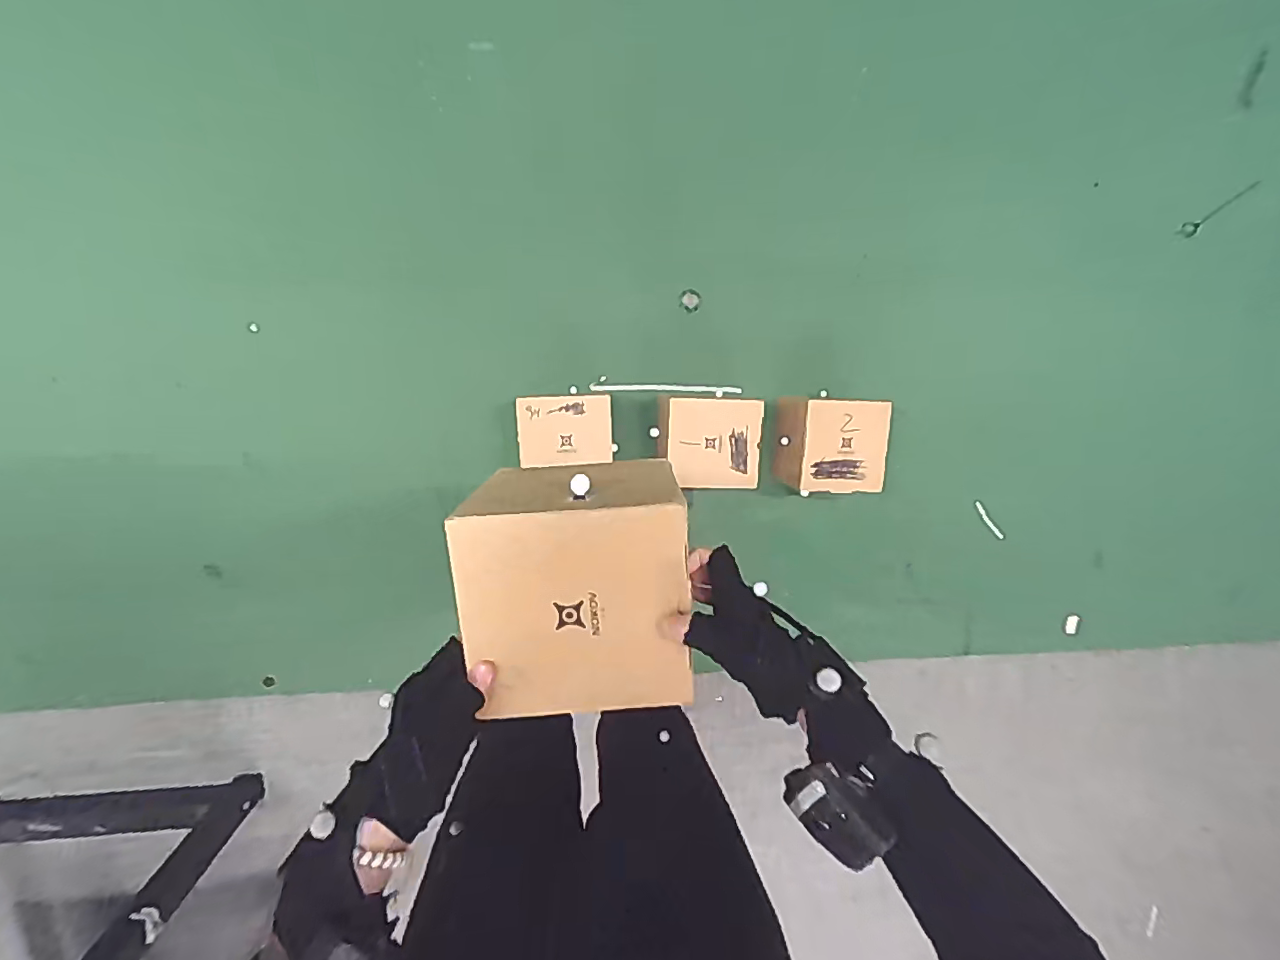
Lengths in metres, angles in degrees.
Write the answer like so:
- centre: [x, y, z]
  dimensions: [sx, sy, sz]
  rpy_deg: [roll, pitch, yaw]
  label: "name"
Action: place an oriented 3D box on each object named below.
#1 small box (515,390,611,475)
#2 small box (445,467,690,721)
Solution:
- centre: [-0.138, -0.075, 1.025]
  dimensions: [0.168, 0.176, 0.179]
  rpy_deg: [-3, 103, -5]
  label: "small box"
- centre: [-0.053, 0.087, 0.482]
  dimensions: [0.179, 0.176, 0.168]
  rpy_deg: [-4, 103, -2]
  label: "small box"
